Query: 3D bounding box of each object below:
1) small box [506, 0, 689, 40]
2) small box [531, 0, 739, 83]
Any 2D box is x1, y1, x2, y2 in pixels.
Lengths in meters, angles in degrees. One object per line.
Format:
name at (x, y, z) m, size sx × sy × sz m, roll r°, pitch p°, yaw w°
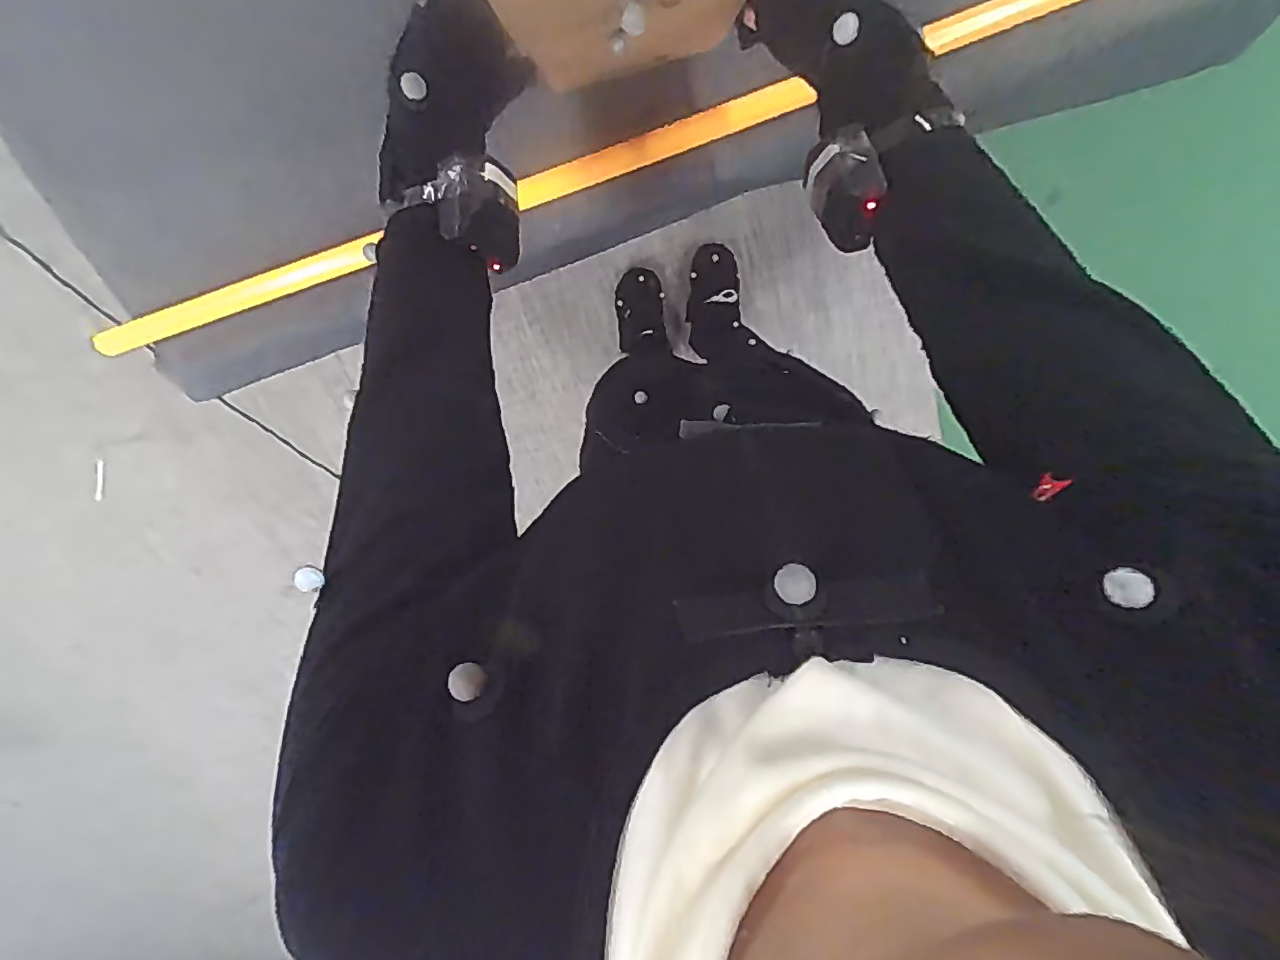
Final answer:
small box at (-0.021, -0.358, 0.258) m, size 0.168 × 0.176 × 0.179 m, roll -12°, pitch 117°, yaw 5°
small box at (-0.021, -0.436, 0.404) m, size 0.168 × 0.176 × 0.179 m, roll -13°, pitch 117°, yaw 6°
